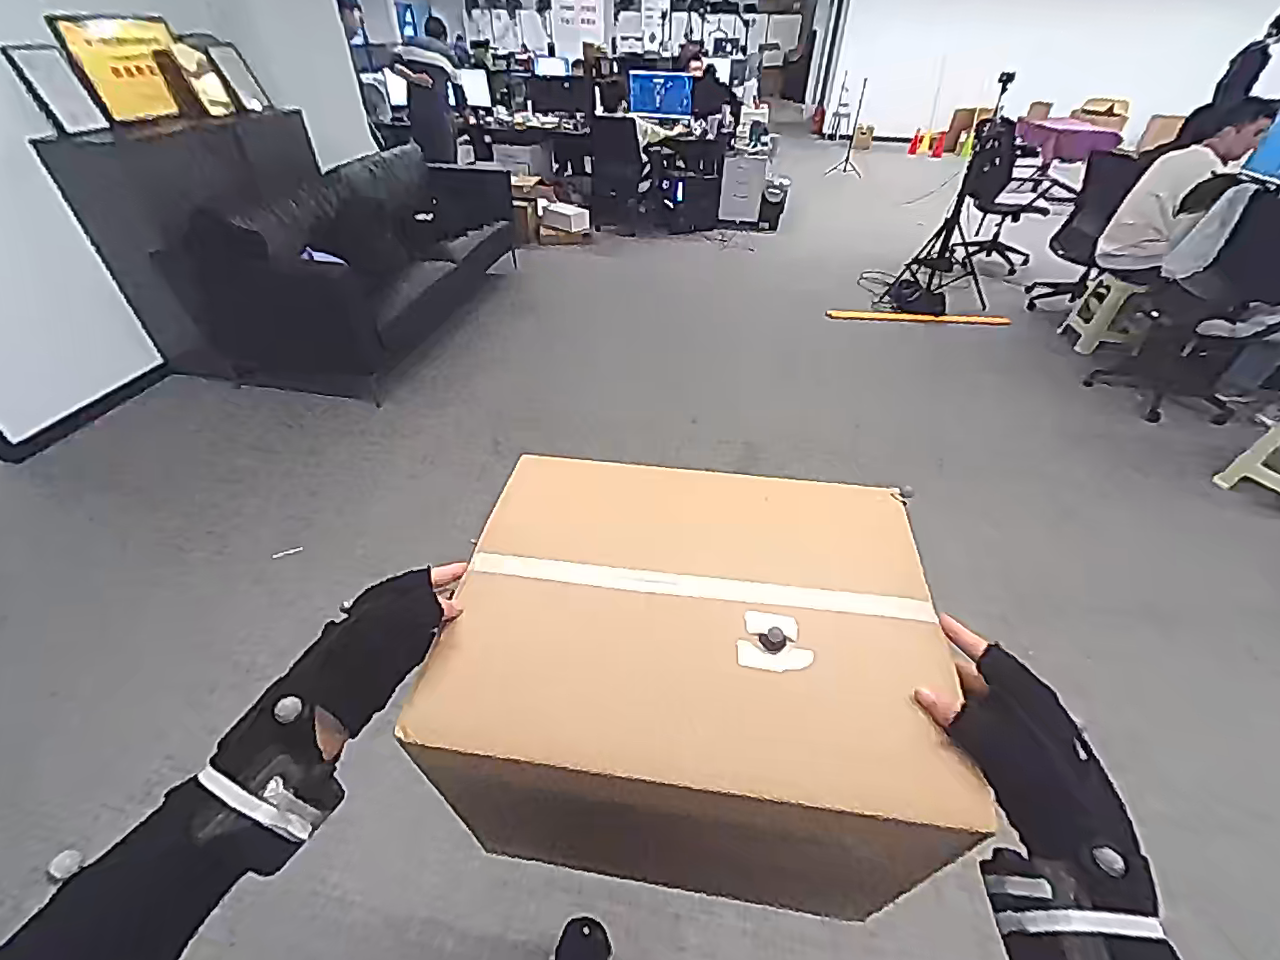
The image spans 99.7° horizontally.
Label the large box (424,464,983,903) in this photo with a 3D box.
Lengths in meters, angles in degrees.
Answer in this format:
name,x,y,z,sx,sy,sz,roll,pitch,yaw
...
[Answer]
name,x,y,z,sx,sy,sz,roll,pitch,yaw
large box,0.052,0.210,0.586,0.408,0.320,0.320,6,44,6
